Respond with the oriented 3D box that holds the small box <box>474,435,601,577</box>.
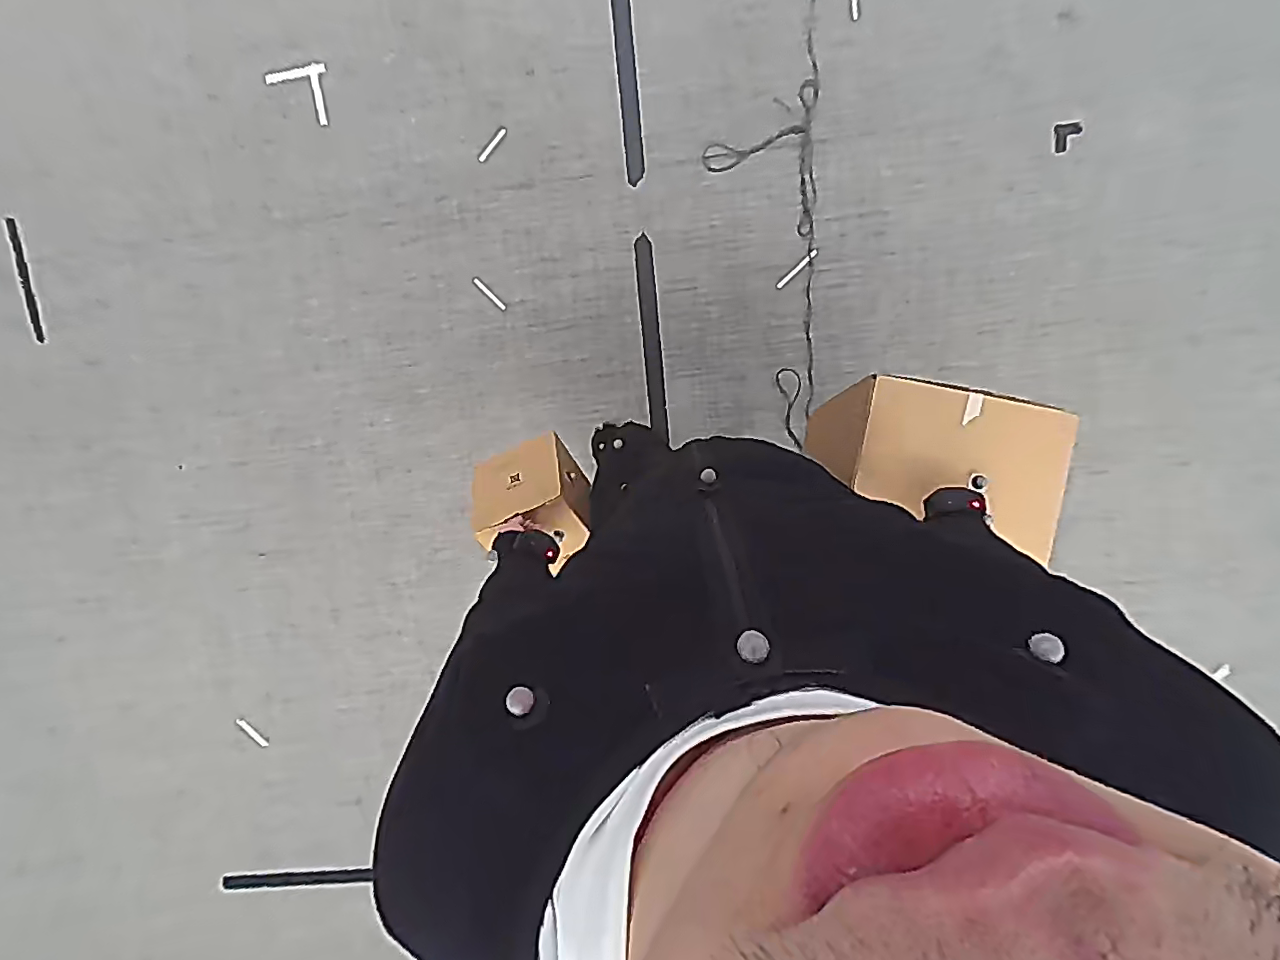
[{"bbox_3d":[-0.182,0.056,0.987,0.168,0.179,0.176,-23,133,7],"label":"small box"}]
